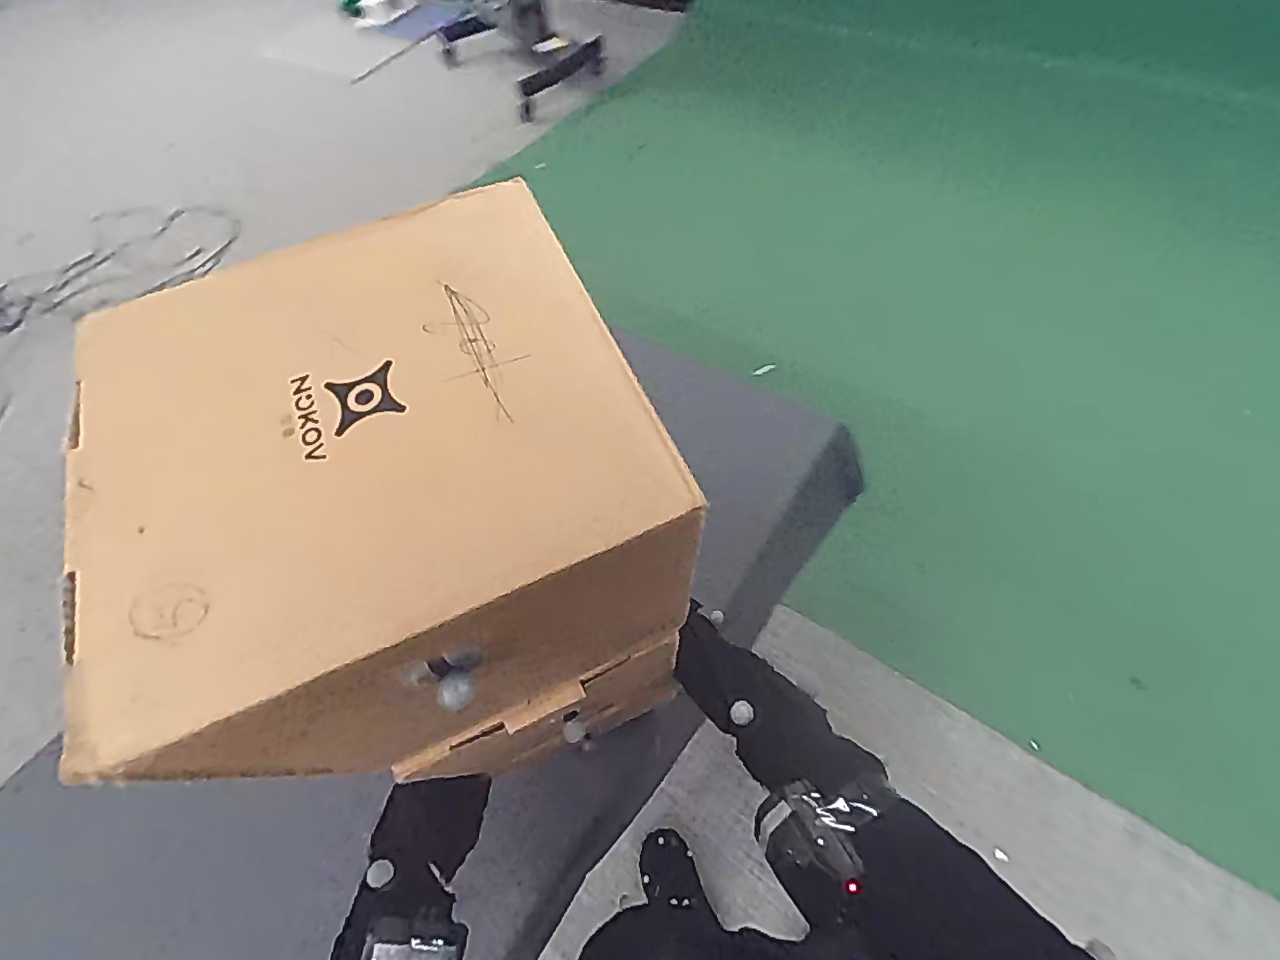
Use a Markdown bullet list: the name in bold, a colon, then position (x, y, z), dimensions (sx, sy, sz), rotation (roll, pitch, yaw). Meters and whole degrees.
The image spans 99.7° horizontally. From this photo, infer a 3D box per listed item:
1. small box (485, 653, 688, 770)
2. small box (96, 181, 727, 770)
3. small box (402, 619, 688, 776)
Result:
- **small box**: position (-0.068, 0.161, 0.536), dimensions (0.179, 0.176, 0.168), rotation (-23, 66, -8)
- **small box**: position (-0.080, 0.010, 0.247), dimensions (0.179, 0.176, 0.168), rotation (-22, 66, -9)
- **small box**: position (-0.076, 0.084, 0.393), dimensions (0.168, 0.176, 0.179), rotation (-23, 66, -9)
